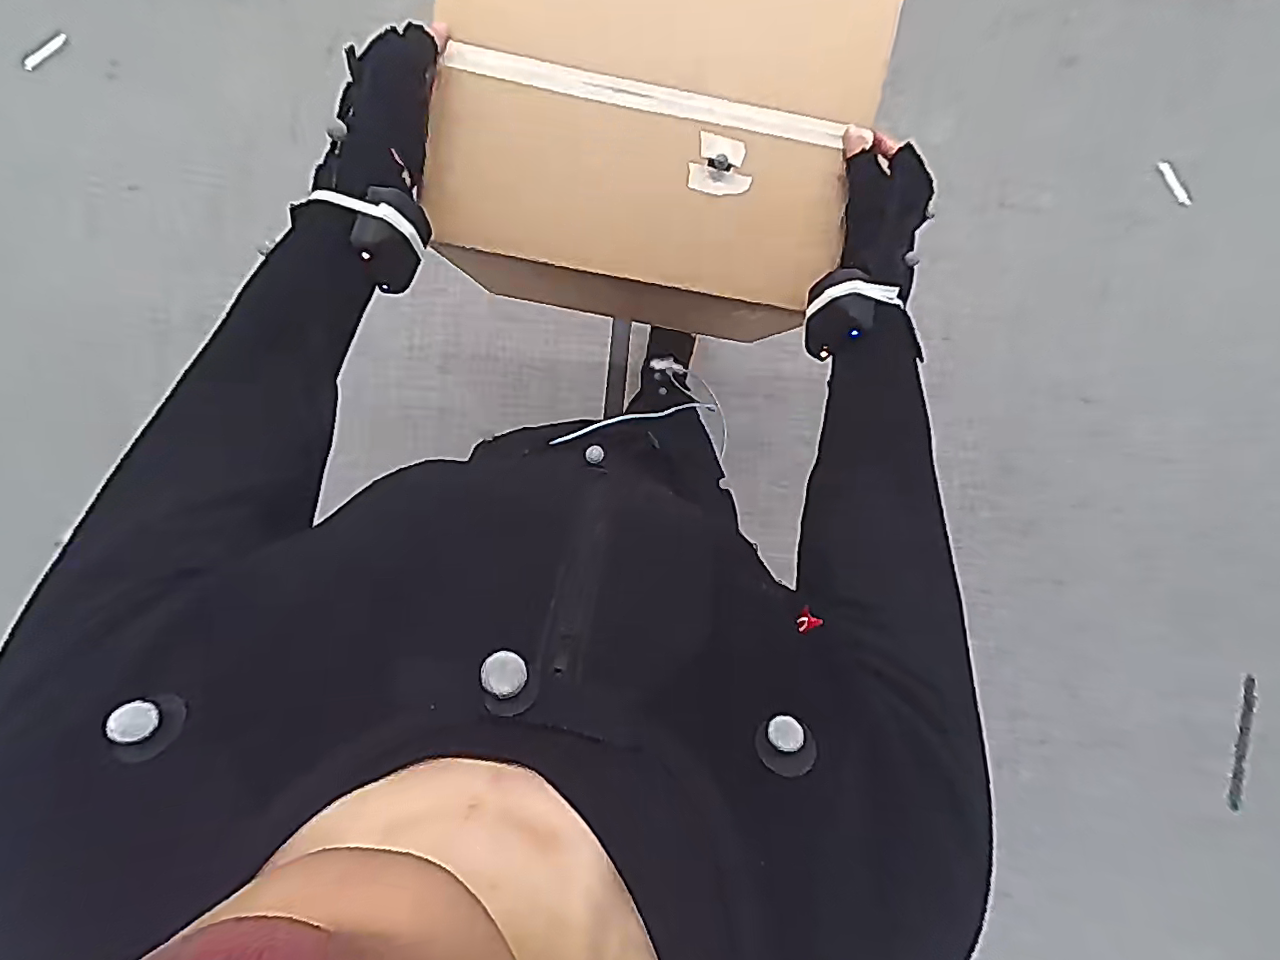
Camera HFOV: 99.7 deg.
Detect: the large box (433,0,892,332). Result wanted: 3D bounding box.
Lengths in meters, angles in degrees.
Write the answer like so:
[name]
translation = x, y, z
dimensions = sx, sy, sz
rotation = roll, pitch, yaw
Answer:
[large box]
translation = 0.010, -0.380, 0.650
dimensions = 0.408, 0.320, 0.320
rotation = 9, 99, -5
